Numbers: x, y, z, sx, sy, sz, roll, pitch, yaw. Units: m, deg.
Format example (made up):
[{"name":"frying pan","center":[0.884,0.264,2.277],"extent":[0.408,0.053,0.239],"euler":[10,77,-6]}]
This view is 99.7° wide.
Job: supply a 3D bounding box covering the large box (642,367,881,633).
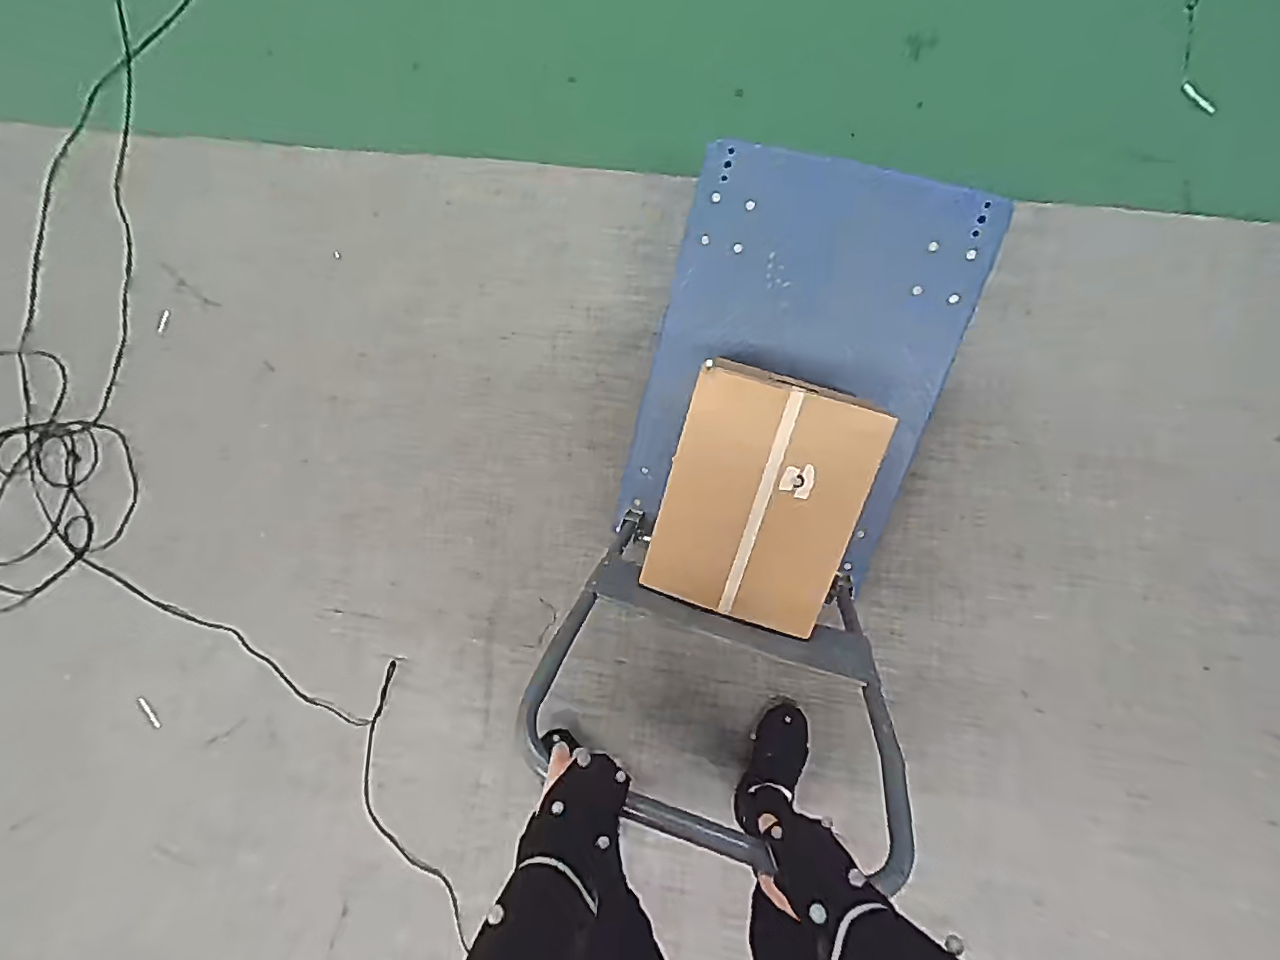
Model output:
[{"name":"large box","center":[0.223,0.014,1.064],"extent":[0.320,0.320,0.408],"euler":[17,105,7]}]
